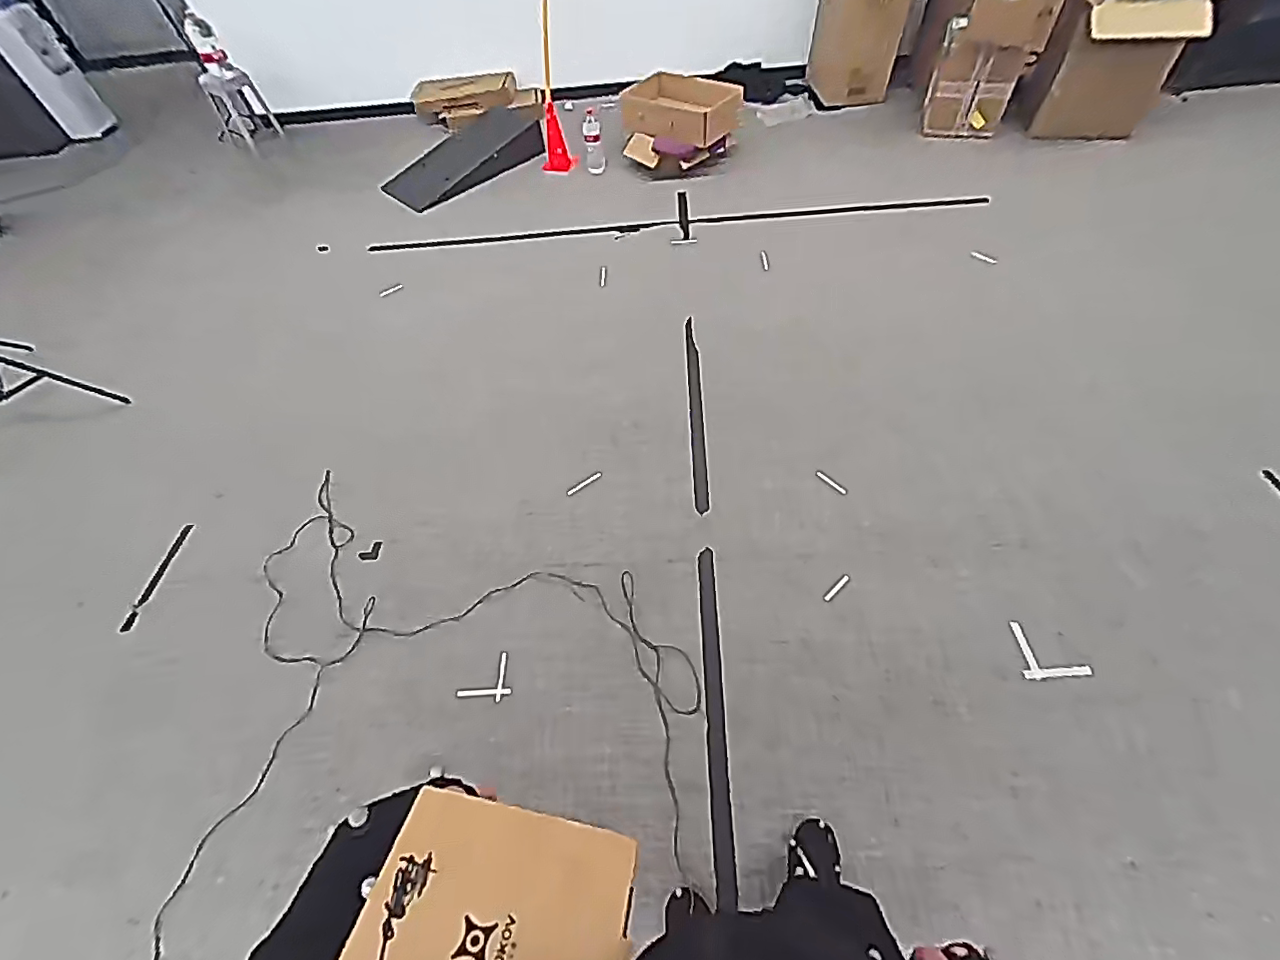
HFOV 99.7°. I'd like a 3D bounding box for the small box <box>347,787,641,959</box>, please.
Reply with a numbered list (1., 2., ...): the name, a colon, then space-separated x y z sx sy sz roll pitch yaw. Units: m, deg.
1. small box: -0.106 0.369 0.405 0.179 0.176 0.168 11 37 4
